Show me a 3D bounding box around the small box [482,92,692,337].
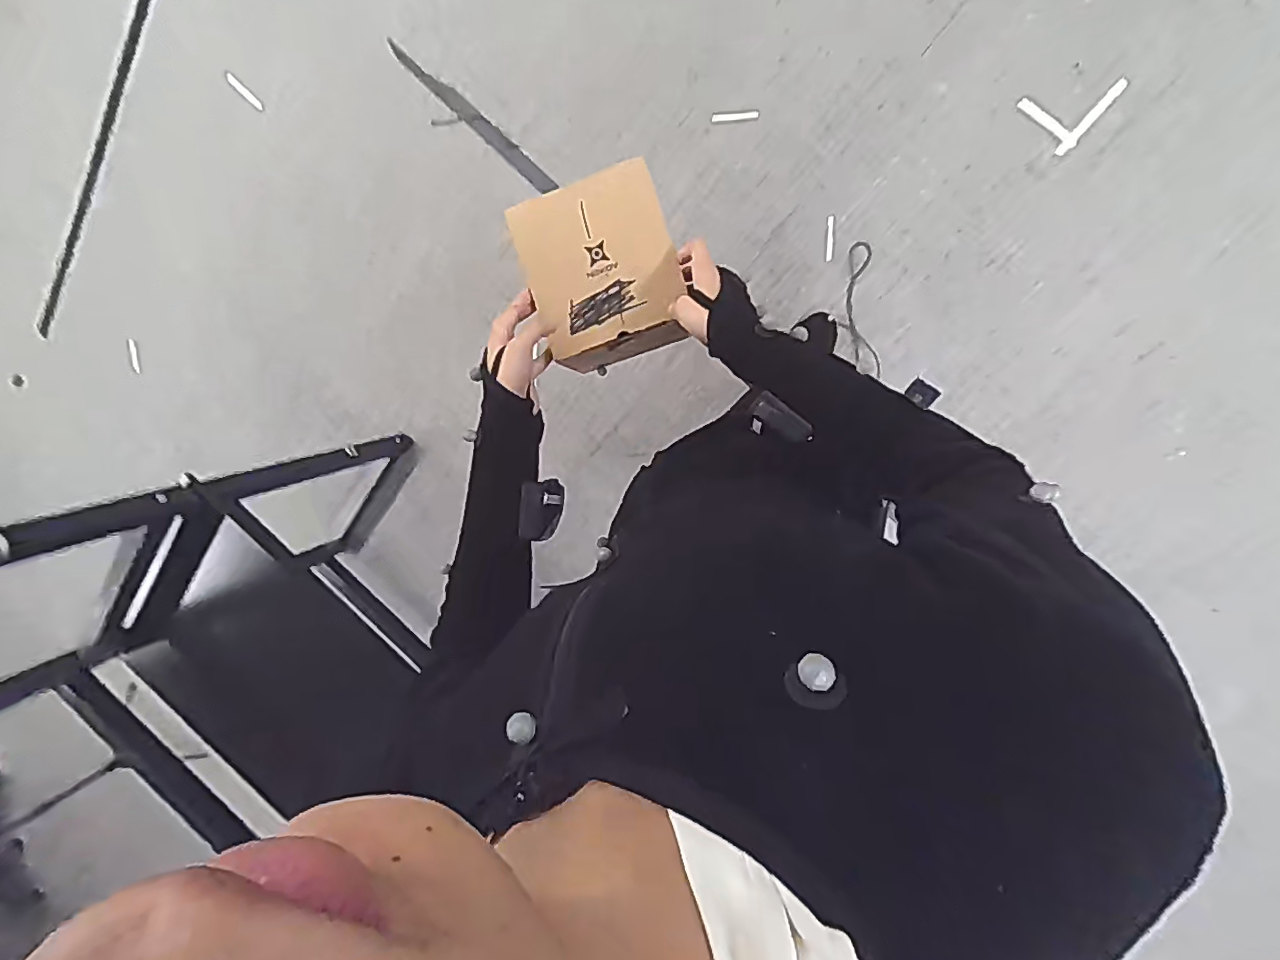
[{"bbox_3d":[-0.043,-0.267,0.597,0.168,0.176,0.179,-18,95,6],"label":"small box"}]
